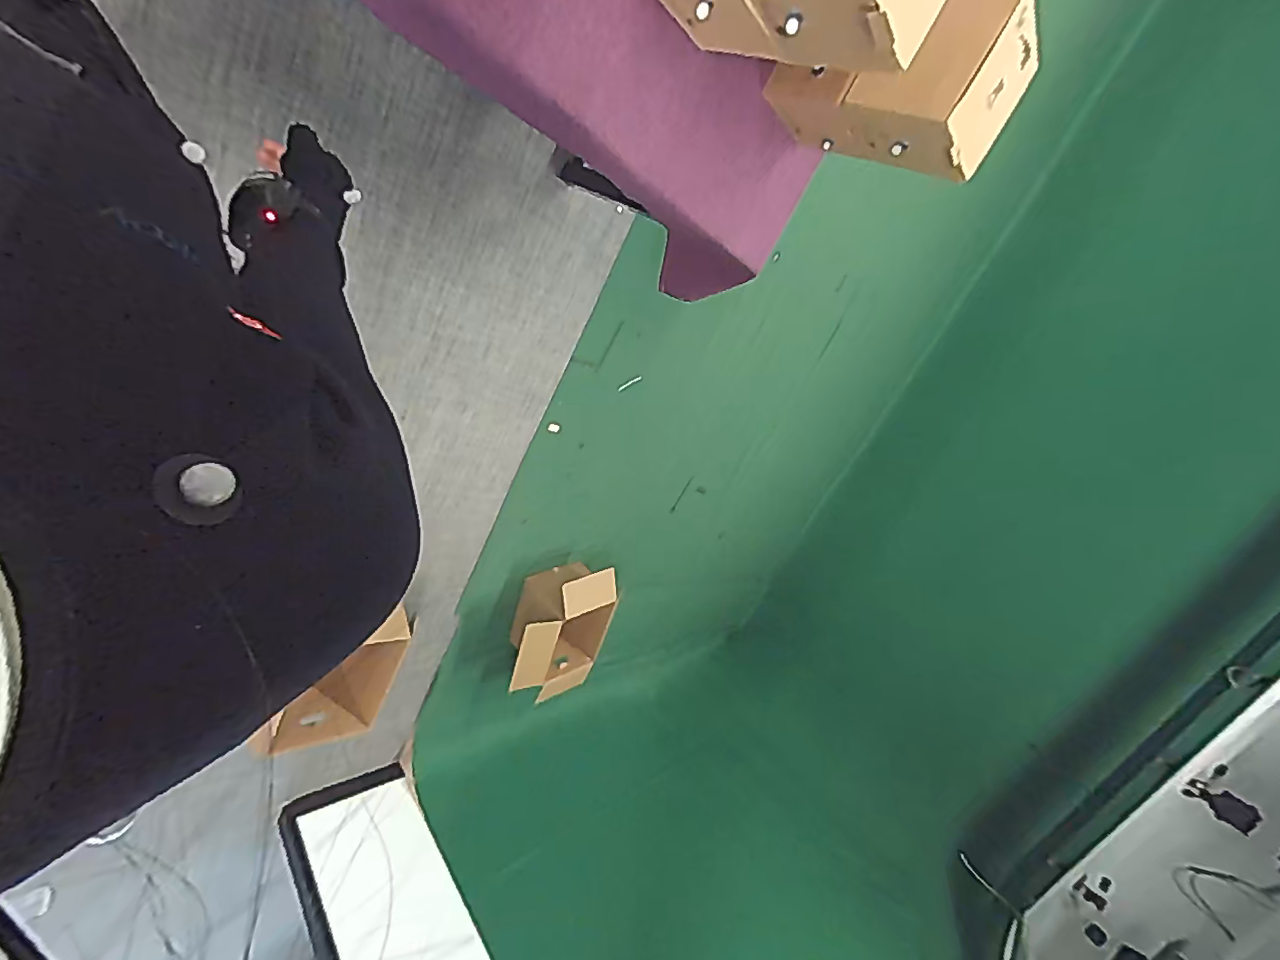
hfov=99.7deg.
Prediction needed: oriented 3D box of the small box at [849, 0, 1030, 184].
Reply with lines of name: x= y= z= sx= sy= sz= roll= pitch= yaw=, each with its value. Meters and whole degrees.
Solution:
small box: x=0.439 y=-0.589 z=0.811 sx=0.168 sy=0.176 sz=0.179 roll=7 pitch=118 yaw=-52

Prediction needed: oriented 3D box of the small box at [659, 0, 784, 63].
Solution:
small box: x=0.122 y=-0.668 z=0.671 sx=0.168 sy=0.176 sz=0.179 roll=4 pitch=118 yaw=-50

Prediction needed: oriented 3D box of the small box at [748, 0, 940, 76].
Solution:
small box: x=0.231 y=-0.585 z=0.579 sx=0.168 sy=0.176 sz=0.179 roll=9 pitch=115 yaw=-51

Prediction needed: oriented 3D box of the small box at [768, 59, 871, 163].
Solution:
small box: x=0.340 y=-0.677 z=0.907 sx=0.168 sy=0.176 sz=0.179 roll=8 pitch=116 yaw=-52
